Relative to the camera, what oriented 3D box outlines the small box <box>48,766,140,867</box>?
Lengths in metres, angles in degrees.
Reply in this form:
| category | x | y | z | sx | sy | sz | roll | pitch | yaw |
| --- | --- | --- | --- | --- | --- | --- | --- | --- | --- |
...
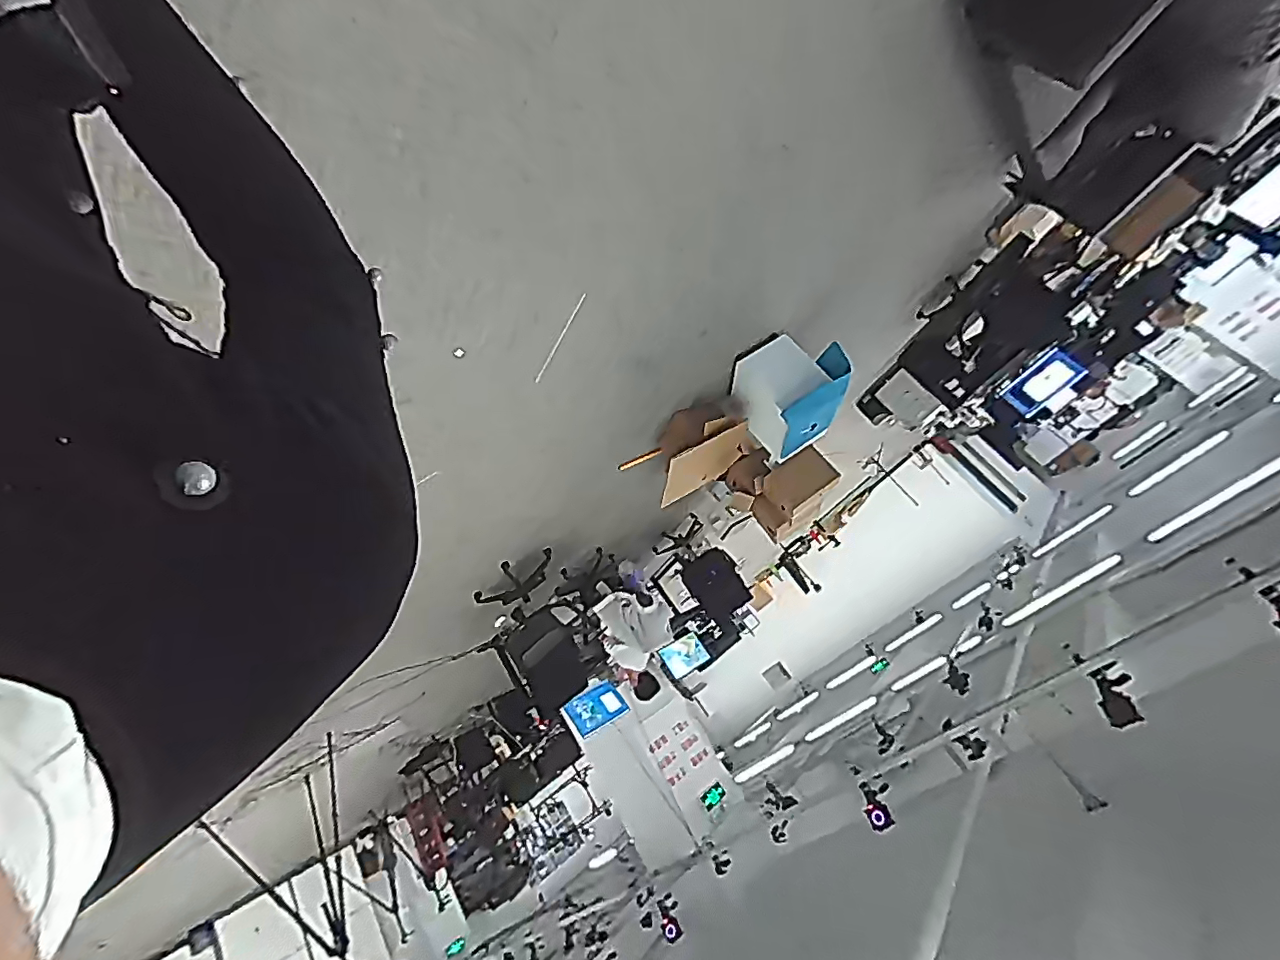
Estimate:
| category | x | y | z | sx | sy | sz | roll | pitch | yaw |
| --- | --- | --- | --- | --- | --- | --- | --- | --- | --- |
| small box | -1.566 | 0.957 | 1.553 | 0.168 | 0.176 | 0.179 | -9 | 147 | -48 |
